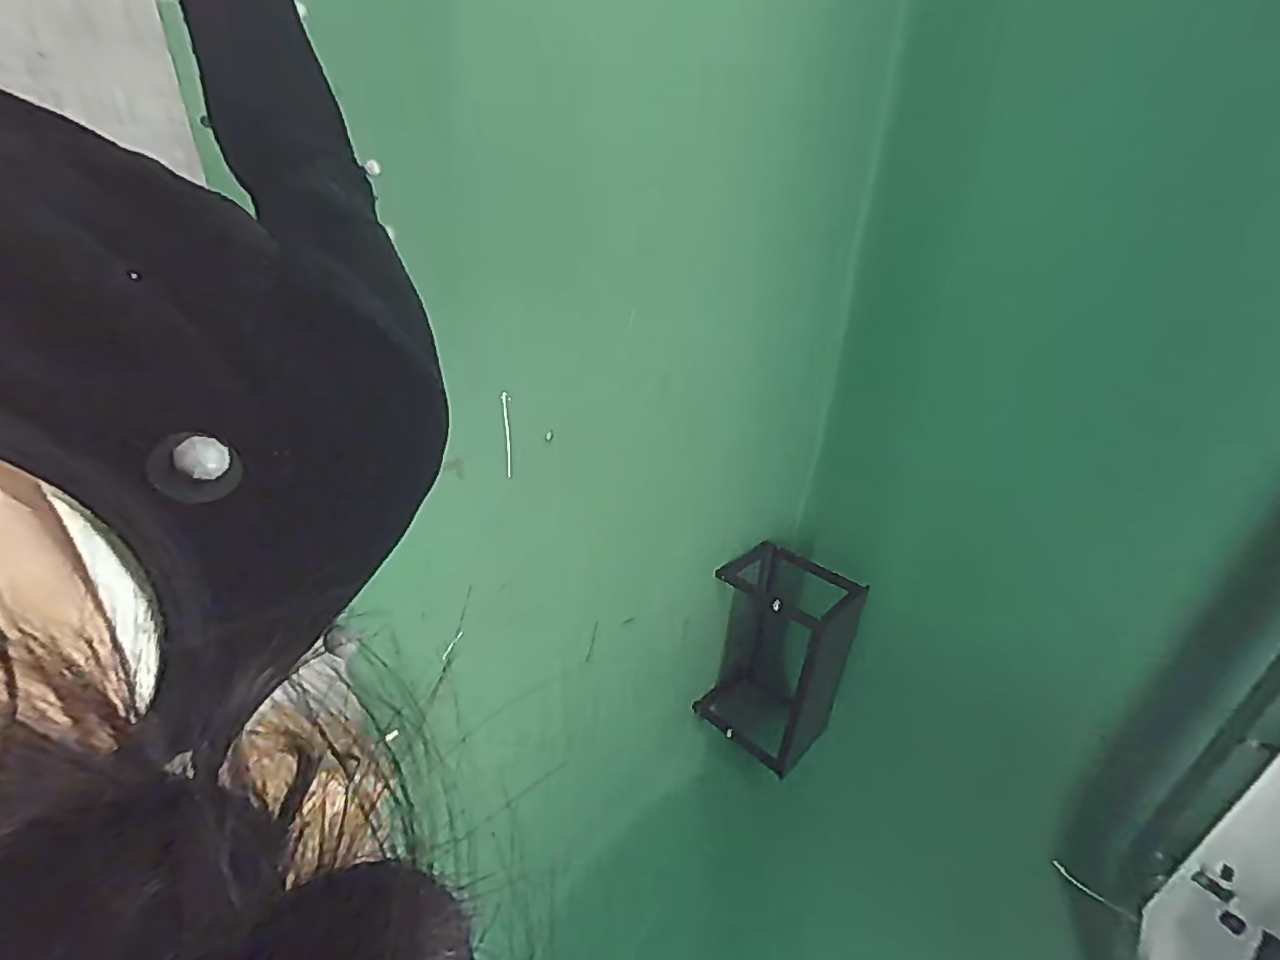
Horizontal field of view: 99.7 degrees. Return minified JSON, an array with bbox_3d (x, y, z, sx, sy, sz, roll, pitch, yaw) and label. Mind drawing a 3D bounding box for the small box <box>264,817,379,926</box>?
[{"bbox_3d":[-0.843,1.028,1.433,0.168,0.176,0.179,-54,141,-14],"label":"small box"}]
